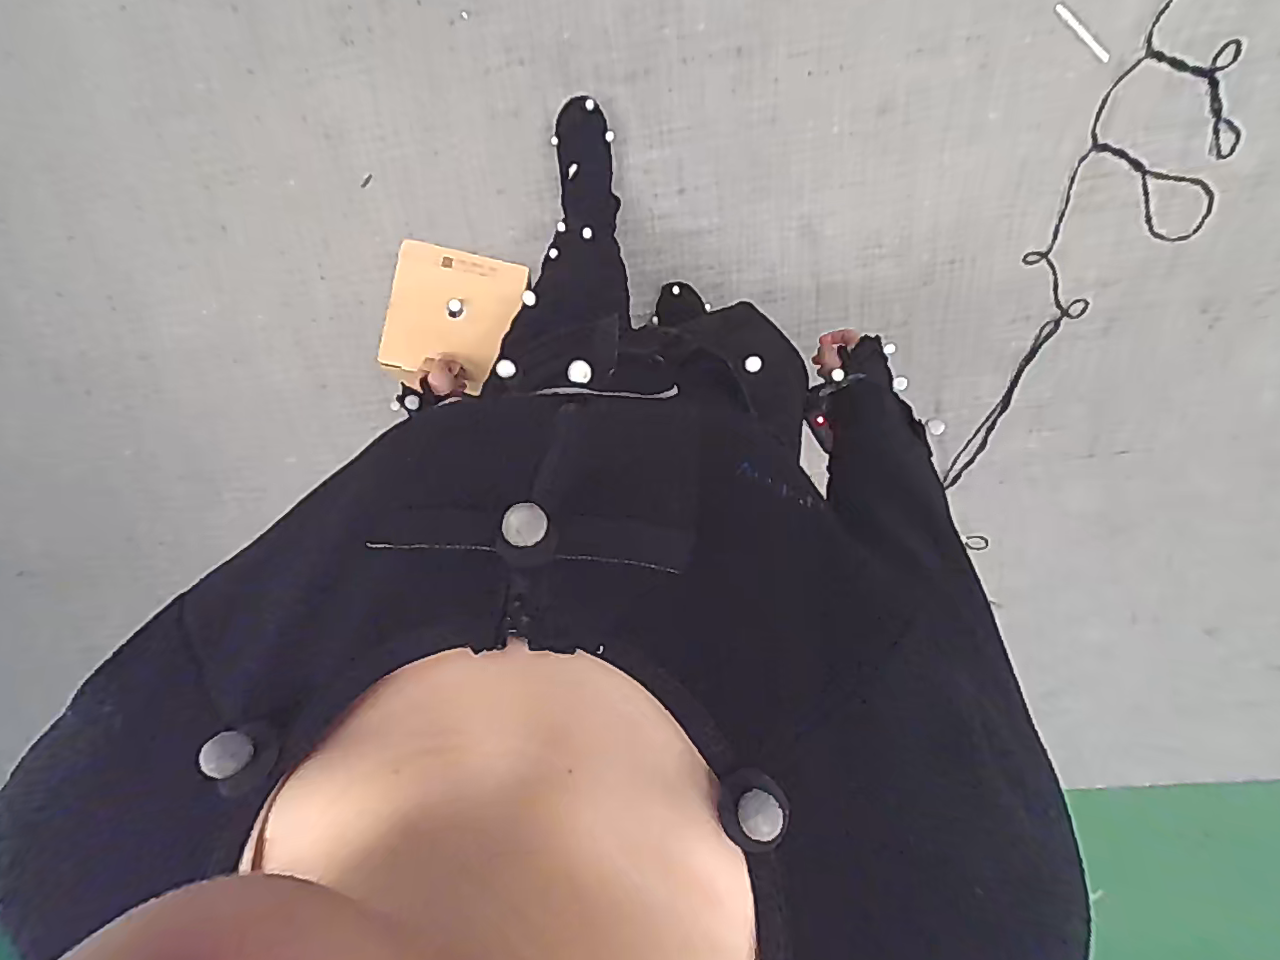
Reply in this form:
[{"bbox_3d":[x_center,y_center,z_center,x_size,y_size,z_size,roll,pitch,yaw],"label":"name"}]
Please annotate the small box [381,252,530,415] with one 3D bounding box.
[{"bbox_3d":[-0.257,-0.205,0.788,0.168,0.179,0.176,10,85,-10],"label":"small box"}]
